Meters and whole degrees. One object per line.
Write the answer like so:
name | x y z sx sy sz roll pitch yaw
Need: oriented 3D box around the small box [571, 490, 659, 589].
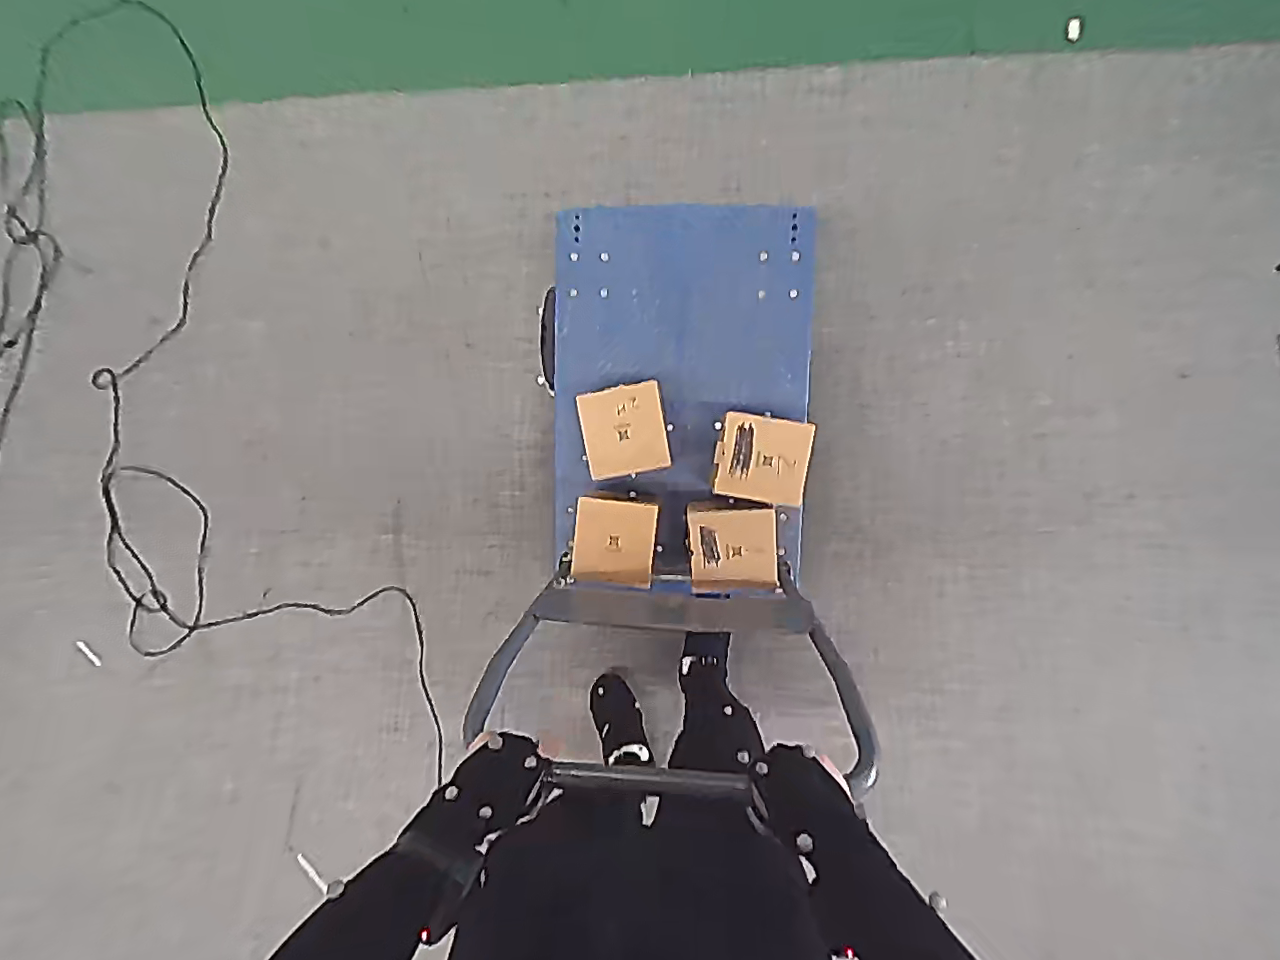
small box | -0.049 0.121 1.179 0.168 0.176 0.179 6 96 3

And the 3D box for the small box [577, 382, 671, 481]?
small box | -0.027 -0.103 1.156 0.168 0.176 0.179 -10 94 5
